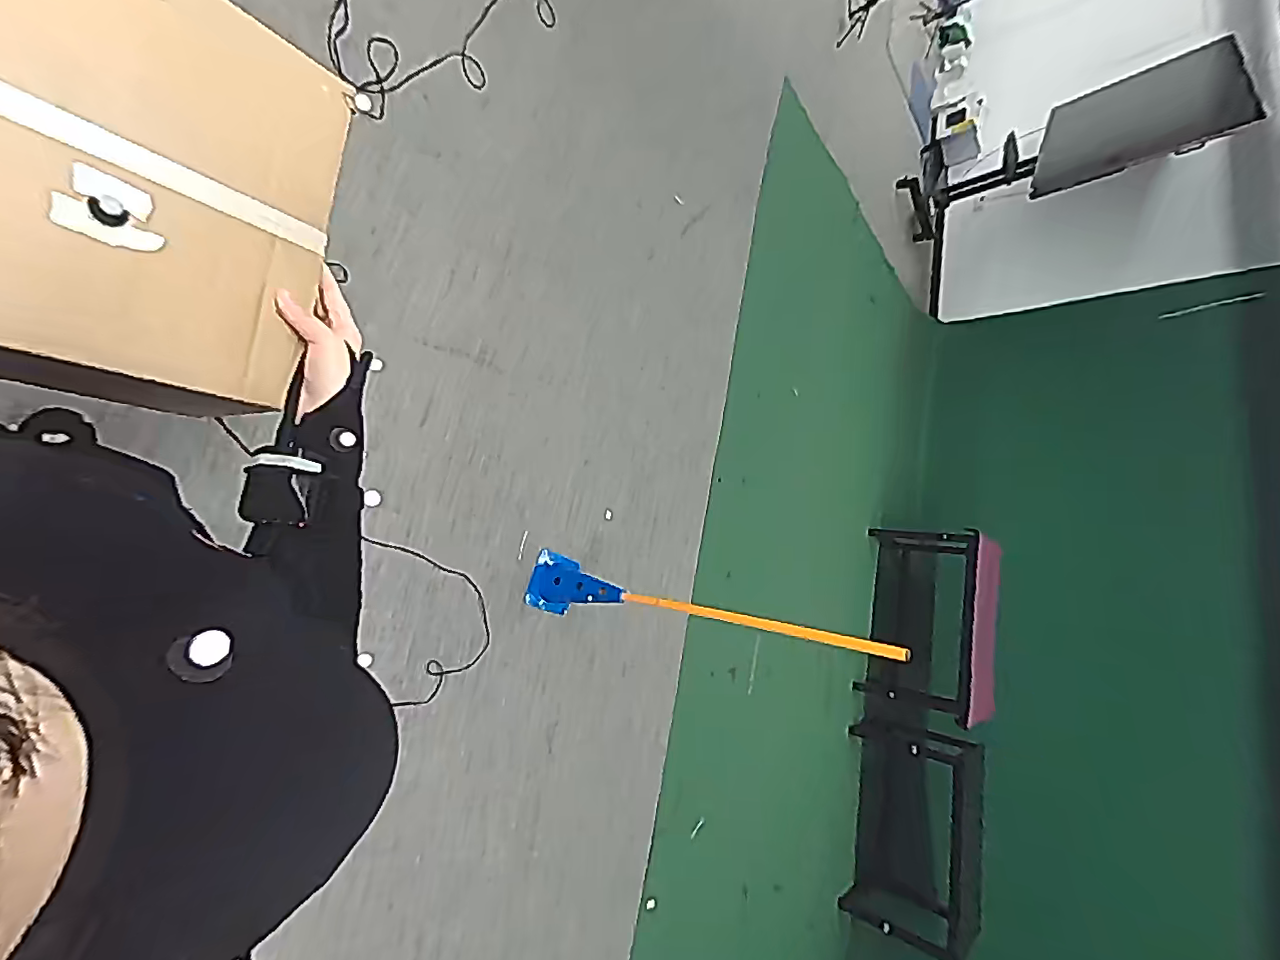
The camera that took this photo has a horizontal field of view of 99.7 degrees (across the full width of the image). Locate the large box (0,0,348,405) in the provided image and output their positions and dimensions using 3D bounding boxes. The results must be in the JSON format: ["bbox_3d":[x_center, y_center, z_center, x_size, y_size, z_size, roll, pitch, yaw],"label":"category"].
[{"bbox_3d":[-0.535,-0.262,0.440,0.408,0.320,0.320,15,82,-51],"label":"large box"}]

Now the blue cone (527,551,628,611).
[{"bbox_3d":[-0.195,0.363,1.828,0.192,0.380,0.193,35,65,-42],"label":"blue cone"}]
